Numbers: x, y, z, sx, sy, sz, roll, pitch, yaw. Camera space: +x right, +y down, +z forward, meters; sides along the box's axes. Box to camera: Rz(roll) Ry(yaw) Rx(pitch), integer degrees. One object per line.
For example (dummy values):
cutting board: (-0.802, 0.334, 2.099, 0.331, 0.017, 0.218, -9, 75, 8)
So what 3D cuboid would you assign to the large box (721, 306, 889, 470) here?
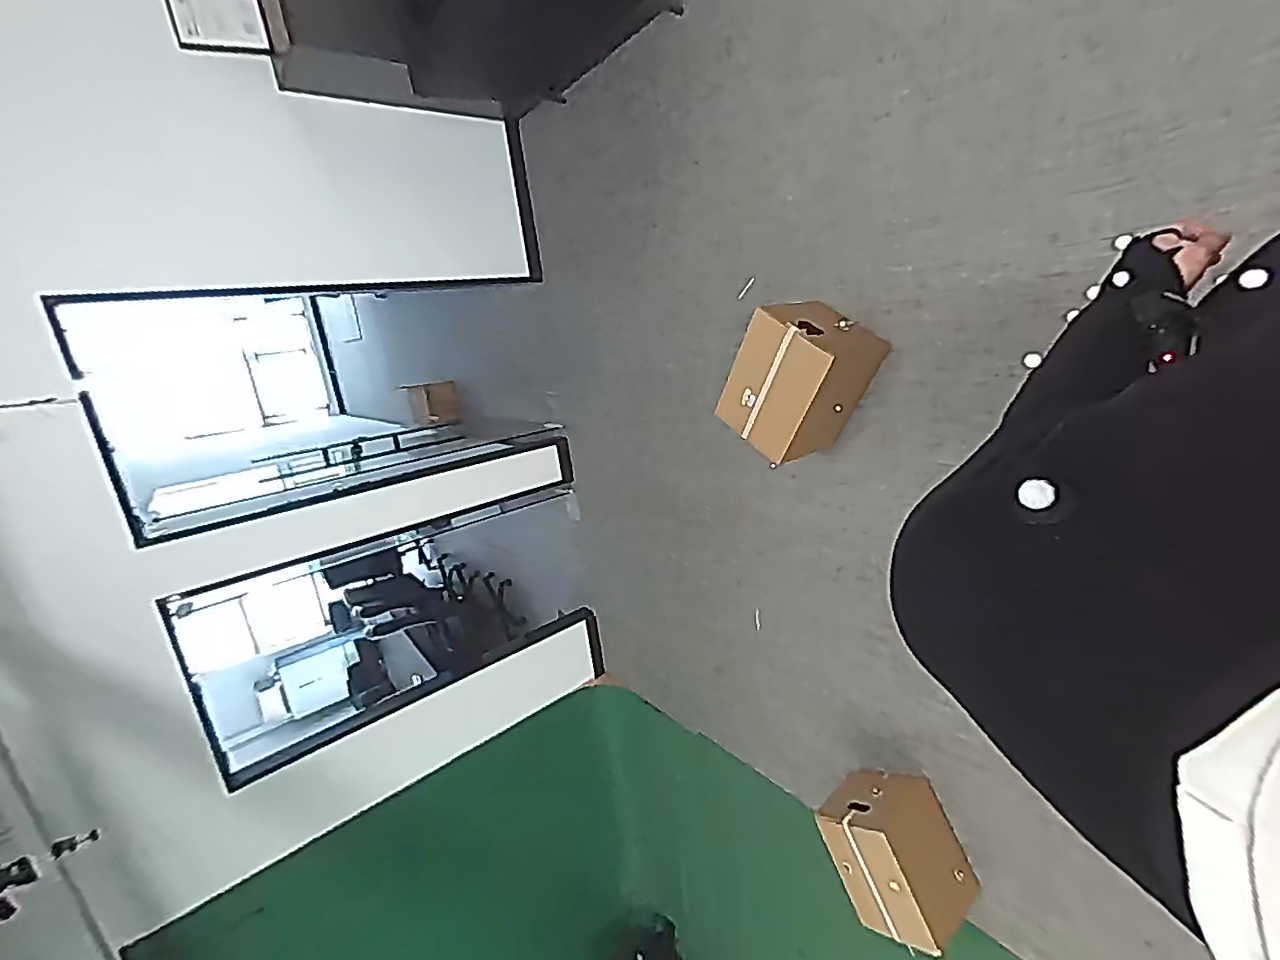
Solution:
large box: (0.527, -0.310, 1.769, 0.320, 0.320, 0.408, 47, 138, 32)
